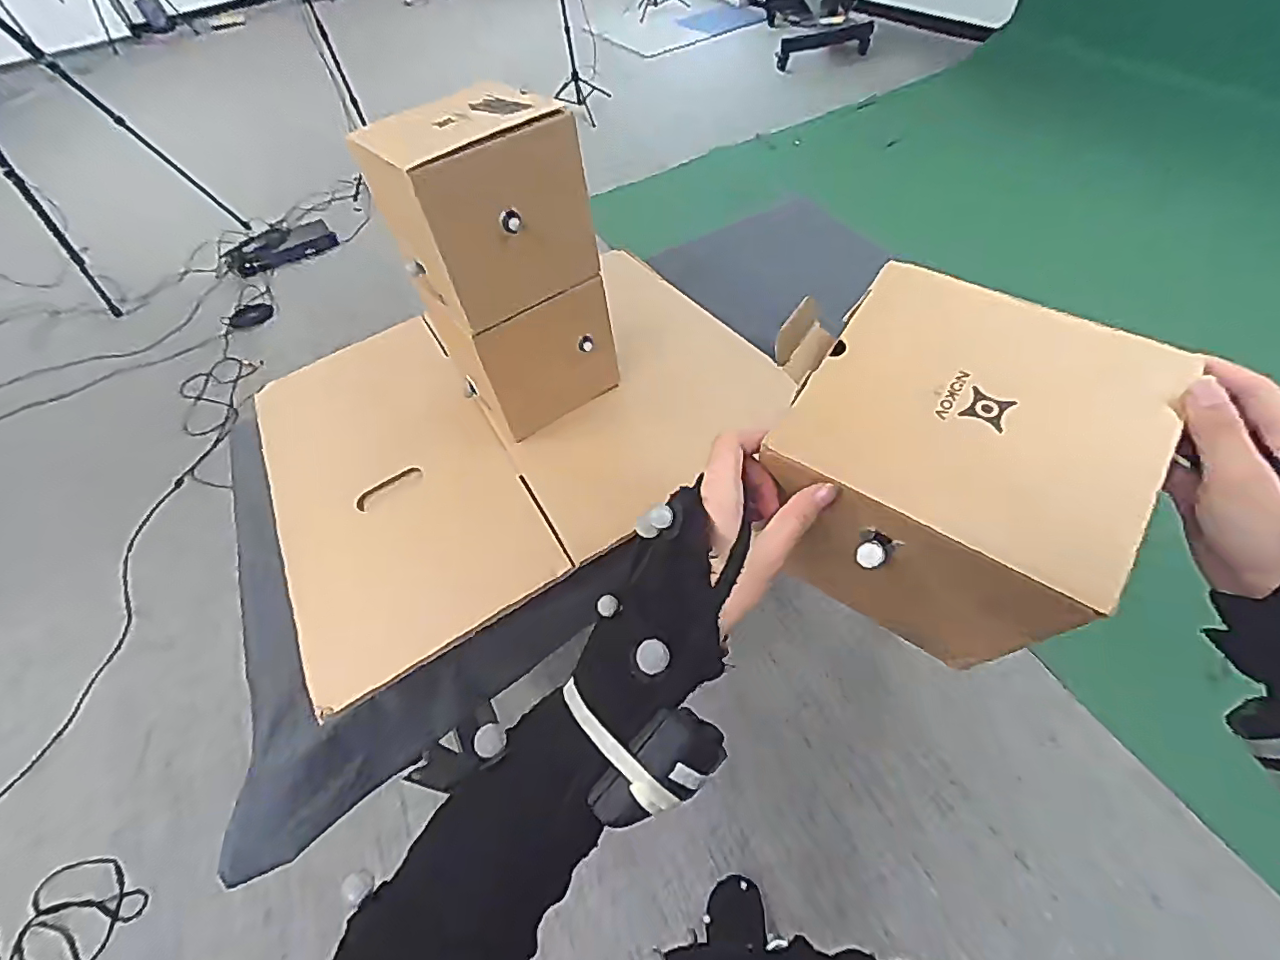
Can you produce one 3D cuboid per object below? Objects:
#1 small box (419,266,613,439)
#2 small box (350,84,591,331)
[{"bbox_3d":[-0.150,-0.189,0.712,0.179,0.176,0.168,-34,53,-18],"label":"small box"},{"bbox_3d":[-0.169,-0.296,0.588,0.179,0.176,0.168,-35,54,-19],"label":"small box"}]
